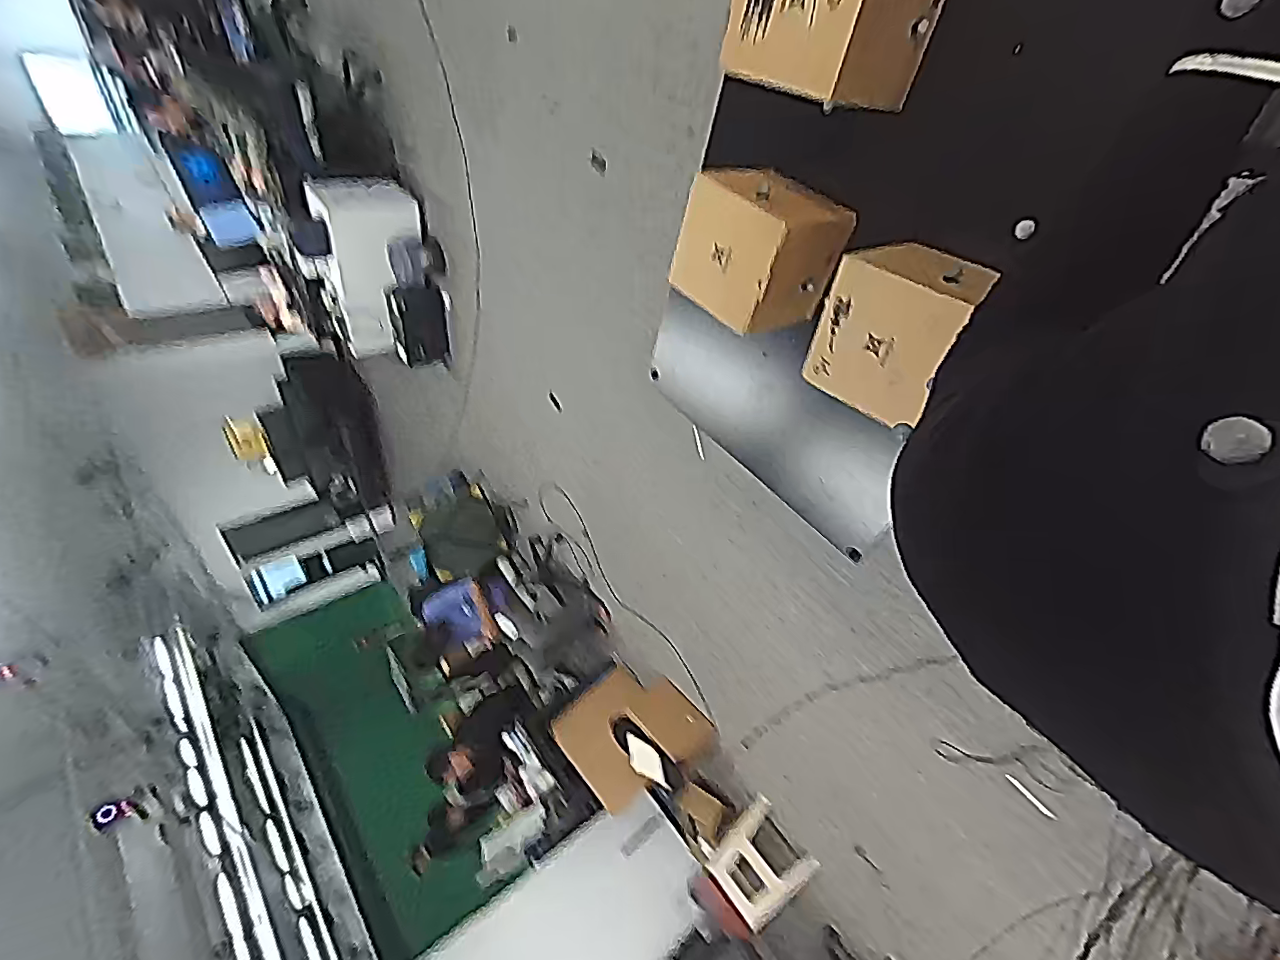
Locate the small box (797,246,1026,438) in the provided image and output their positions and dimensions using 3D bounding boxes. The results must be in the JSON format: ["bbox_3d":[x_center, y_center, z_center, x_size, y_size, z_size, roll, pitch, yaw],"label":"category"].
[{"bbox_3d":[0.340,-0.185,0.686,0.179,0.176,0.168,41,138,32],"label":"small box"}]

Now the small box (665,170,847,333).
[{"bbox_3d":[0.171,-0.349,0.820,0.179,0.176,0.168,46,141,27],"label":"small box"}]
